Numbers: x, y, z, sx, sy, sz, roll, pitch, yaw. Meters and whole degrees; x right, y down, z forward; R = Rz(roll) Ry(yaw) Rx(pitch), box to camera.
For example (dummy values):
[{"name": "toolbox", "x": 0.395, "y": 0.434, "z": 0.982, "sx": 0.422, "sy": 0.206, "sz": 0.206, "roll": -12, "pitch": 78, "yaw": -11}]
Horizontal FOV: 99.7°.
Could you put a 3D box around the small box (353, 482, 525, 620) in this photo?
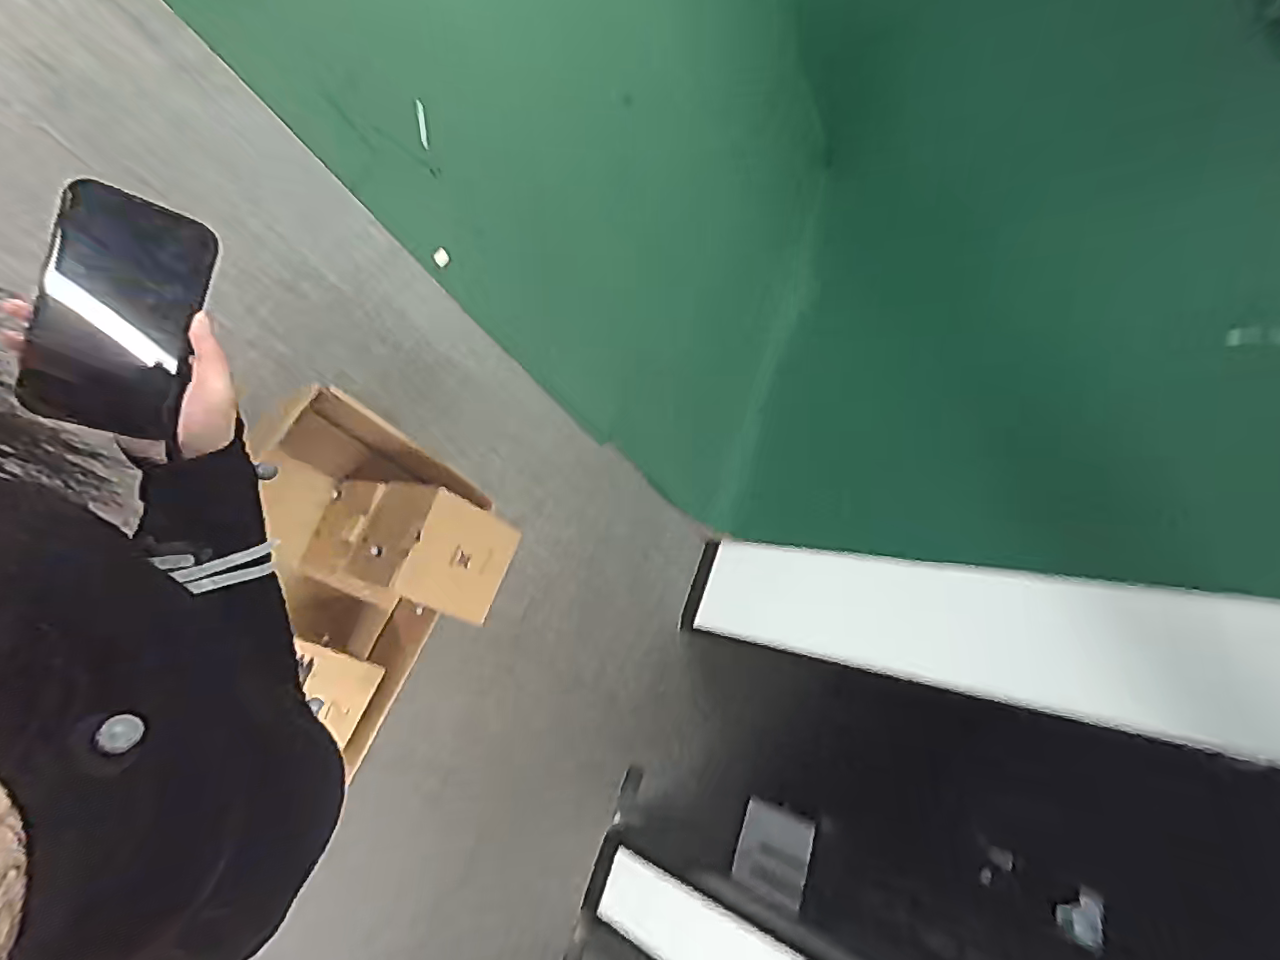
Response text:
[{"name": "small box", "x": -0.332, "y": 0.113, "z": 0.892, "sx": 0.179, "sy": 0.176, "sz": 0.168, "roll": 41, "pitch": 63, "yaw": -43}]
